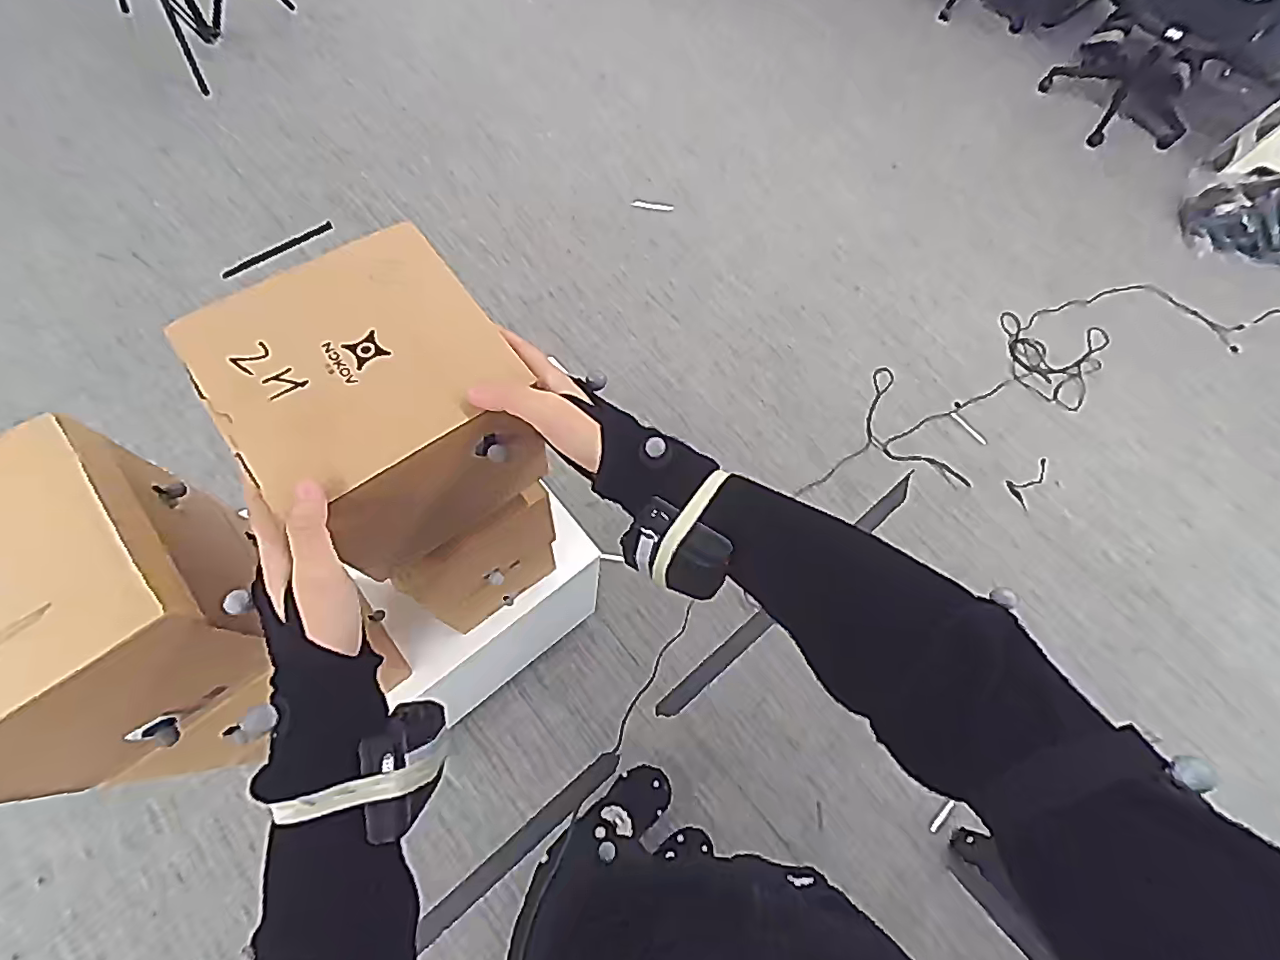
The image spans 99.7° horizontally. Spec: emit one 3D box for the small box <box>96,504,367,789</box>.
[{"bbox_3d":[-0.406,0.158,0.529,0.168,0.176,0.179,-38,75,-19],"label":"small box"}]

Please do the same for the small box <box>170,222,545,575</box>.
[{"bbox_3d":[-0.189,-0.051,0.421,0.179,0.176,0.168,-35,76,-17],"label":"small box"}]

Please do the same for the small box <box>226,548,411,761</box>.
[{"bbox_3d":[-0.422,0.220,0.678,0.168,0.176,0.179,-36,74,-17],"label":"small box"}]

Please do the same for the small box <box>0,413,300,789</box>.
[{"bbox_3d":[-0.392,0.093,0.381,0.168,0.176,0.179,-38,76,-18],"label":"small box"}]

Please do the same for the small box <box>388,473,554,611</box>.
[{"bbox_3d":[-0.211,0.023,0.603,0.168,0.176,0.179,-35,76,-17],"label":"small box"}]
